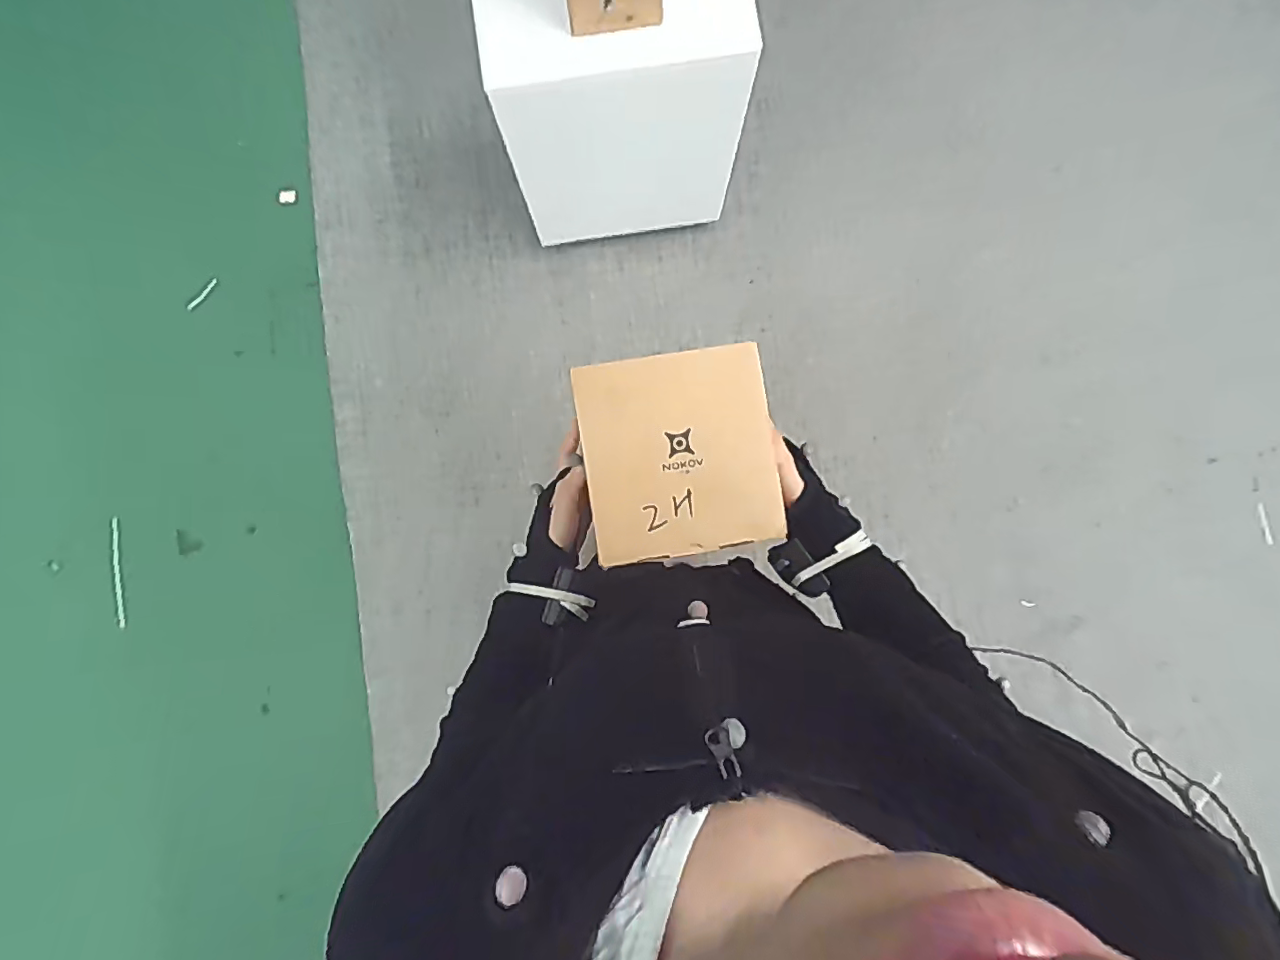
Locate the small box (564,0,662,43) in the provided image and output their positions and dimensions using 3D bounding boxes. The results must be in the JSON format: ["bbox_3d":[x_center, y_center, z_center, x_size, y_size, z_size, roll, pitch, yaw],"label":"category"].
[{"bbox_3d":[-0.056,-0.886,0.898,0.168,0.176,0.179,-9,84,0],"label":"small box"}]

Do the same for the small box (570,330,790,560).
[{"bbox_3d":[0.028,-0.027,0.525,0.168,0.176,0.179,-9,88,-3],"label":"small box"}]
